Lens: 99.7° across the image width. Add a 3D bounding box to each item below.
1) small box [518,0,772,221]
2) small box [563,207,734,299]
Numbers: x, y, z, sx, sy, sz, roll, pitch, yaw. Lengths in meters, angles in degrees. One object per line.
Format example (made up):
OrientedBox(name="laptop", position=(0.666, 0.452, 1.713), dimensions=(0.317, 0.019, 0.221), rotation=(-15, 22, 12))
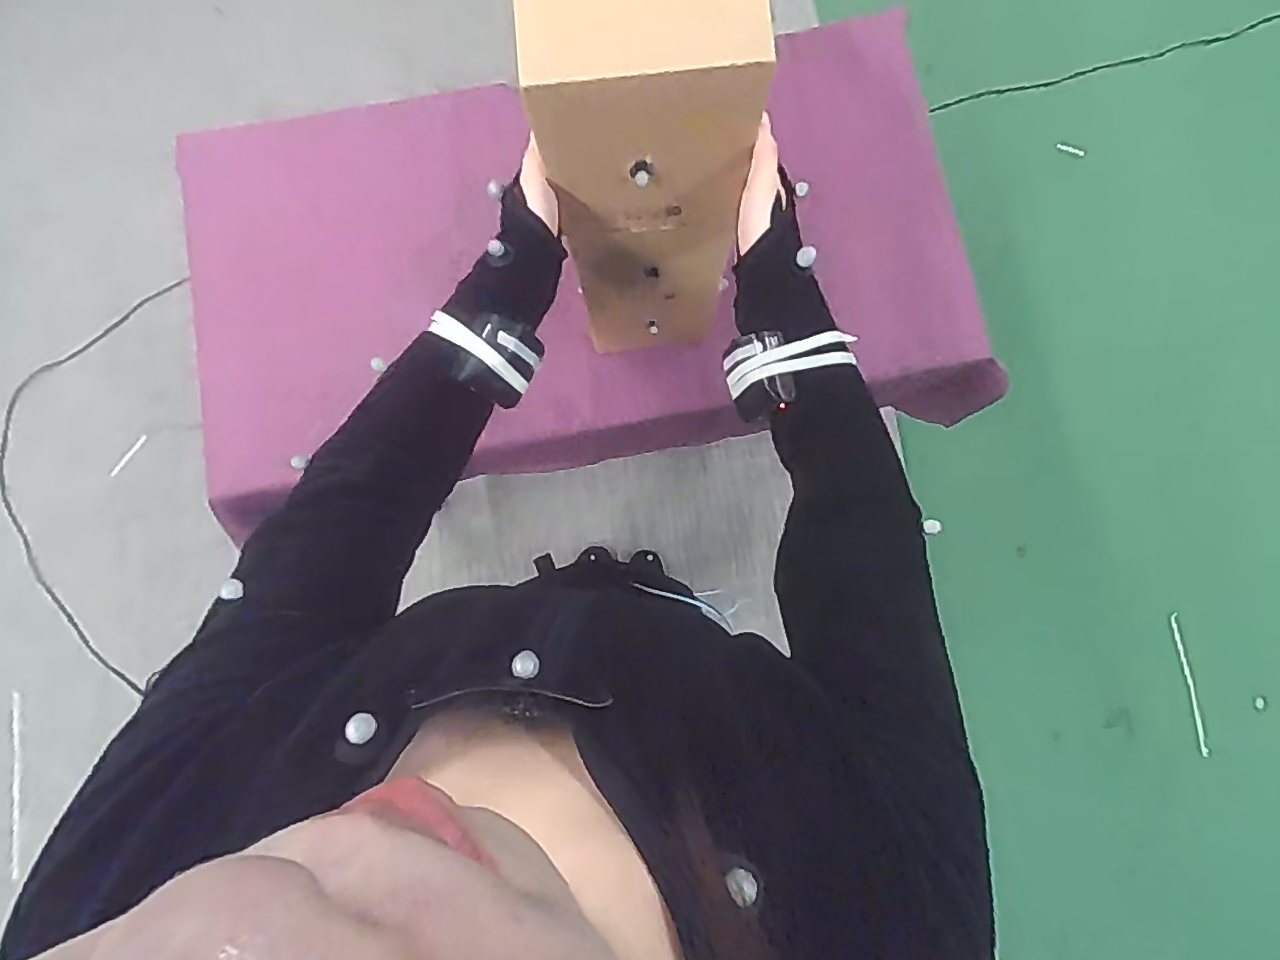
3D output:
OrientedBox(name="small box", position=(0.002, -0.331, 0.435), dimensions=(0.168, 0.176, 0.179), rotation=(-4, 83, 0))
OrientedBox(name="small box", position=(0.007, -0.314, 0.600), dimensions=(0.168, 0.176, 0.179), rotation=(-4, 84, 0))
